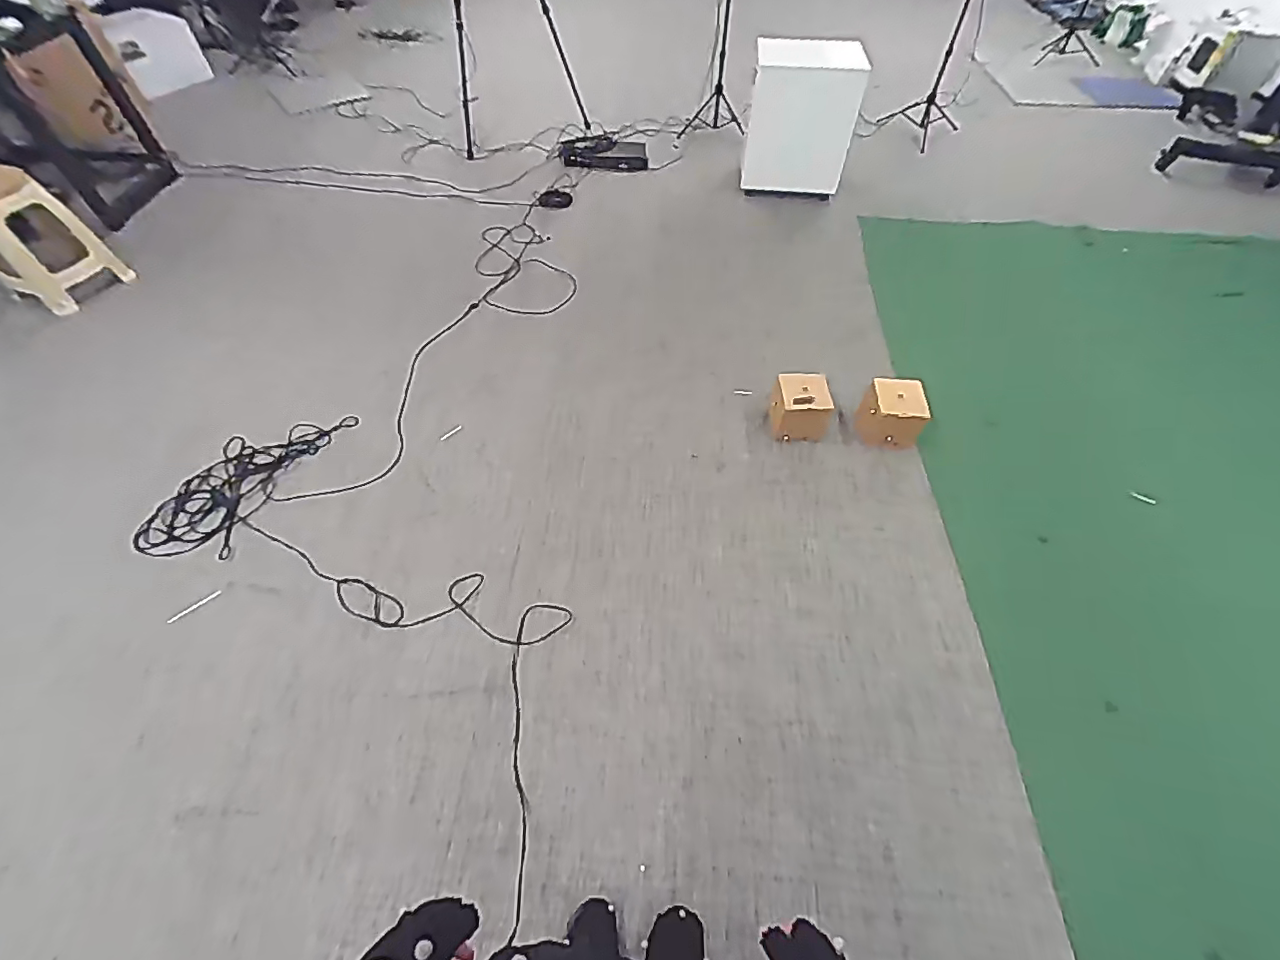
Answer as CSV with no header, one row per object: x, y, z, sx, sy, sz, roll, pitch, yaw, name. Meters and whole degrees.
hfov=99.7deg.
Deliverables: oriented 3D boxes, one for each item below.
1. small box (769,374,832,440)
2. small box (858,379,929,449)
0.565,-0.256,1.920,0.168,0.176,0.179,1,53,-1,small box
0.887,-0.233,1.911,0.168,0.176,0.179,5,54,3,small box
